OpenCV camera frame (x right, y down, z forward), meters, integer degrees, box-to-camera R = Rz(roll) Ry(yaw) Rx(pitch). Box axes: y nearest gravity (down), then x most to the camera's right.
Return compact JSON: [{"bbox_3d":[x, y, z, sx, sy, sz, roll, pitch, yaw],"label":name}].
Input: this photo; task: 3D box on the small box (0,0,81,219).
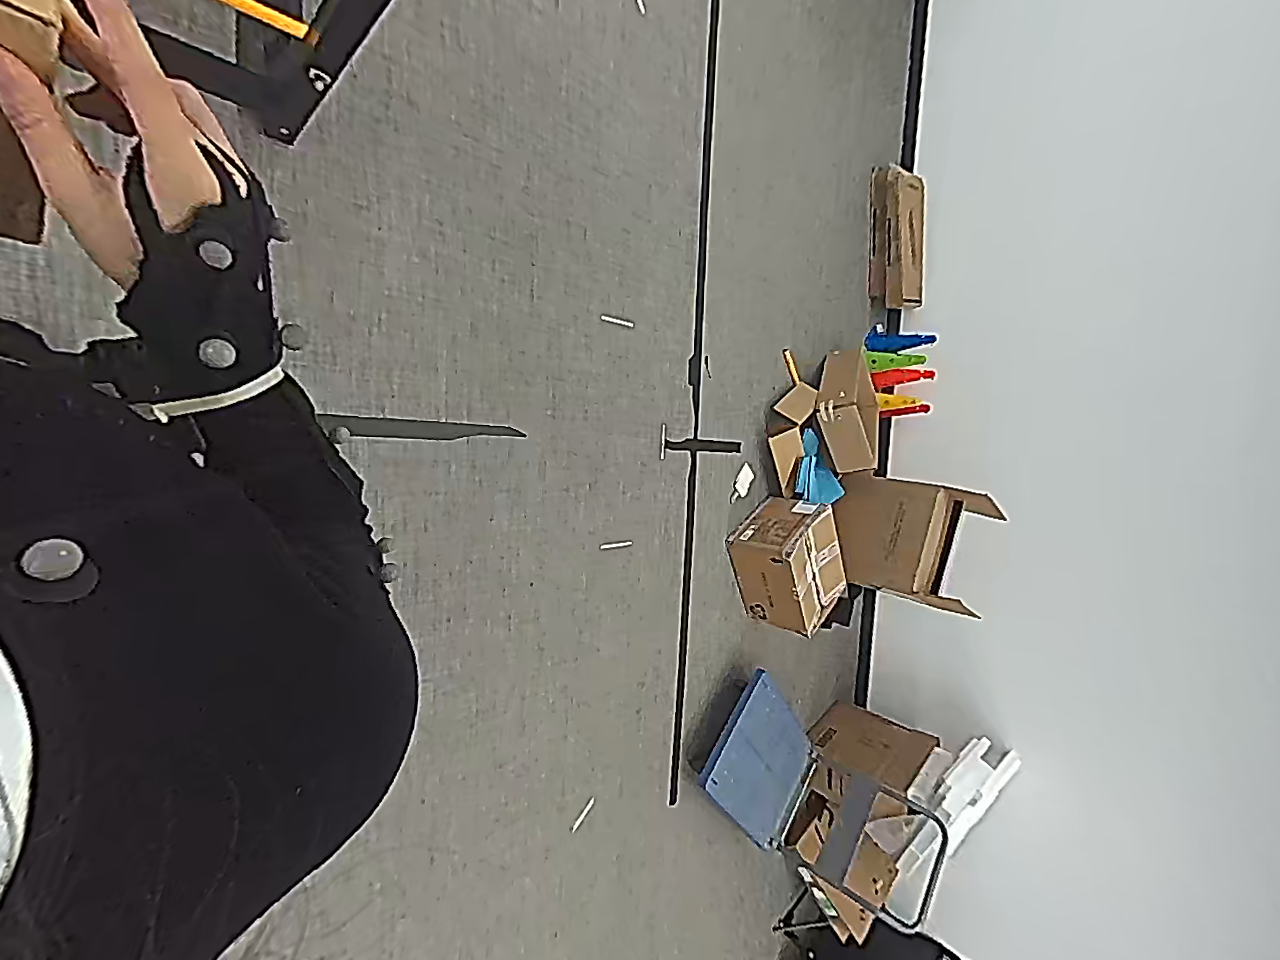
[{"bbox_3d":[-0.352,-0.235,0.211,0.179,0.176,0.168,-1,76,-48],"label":"small box"}]
